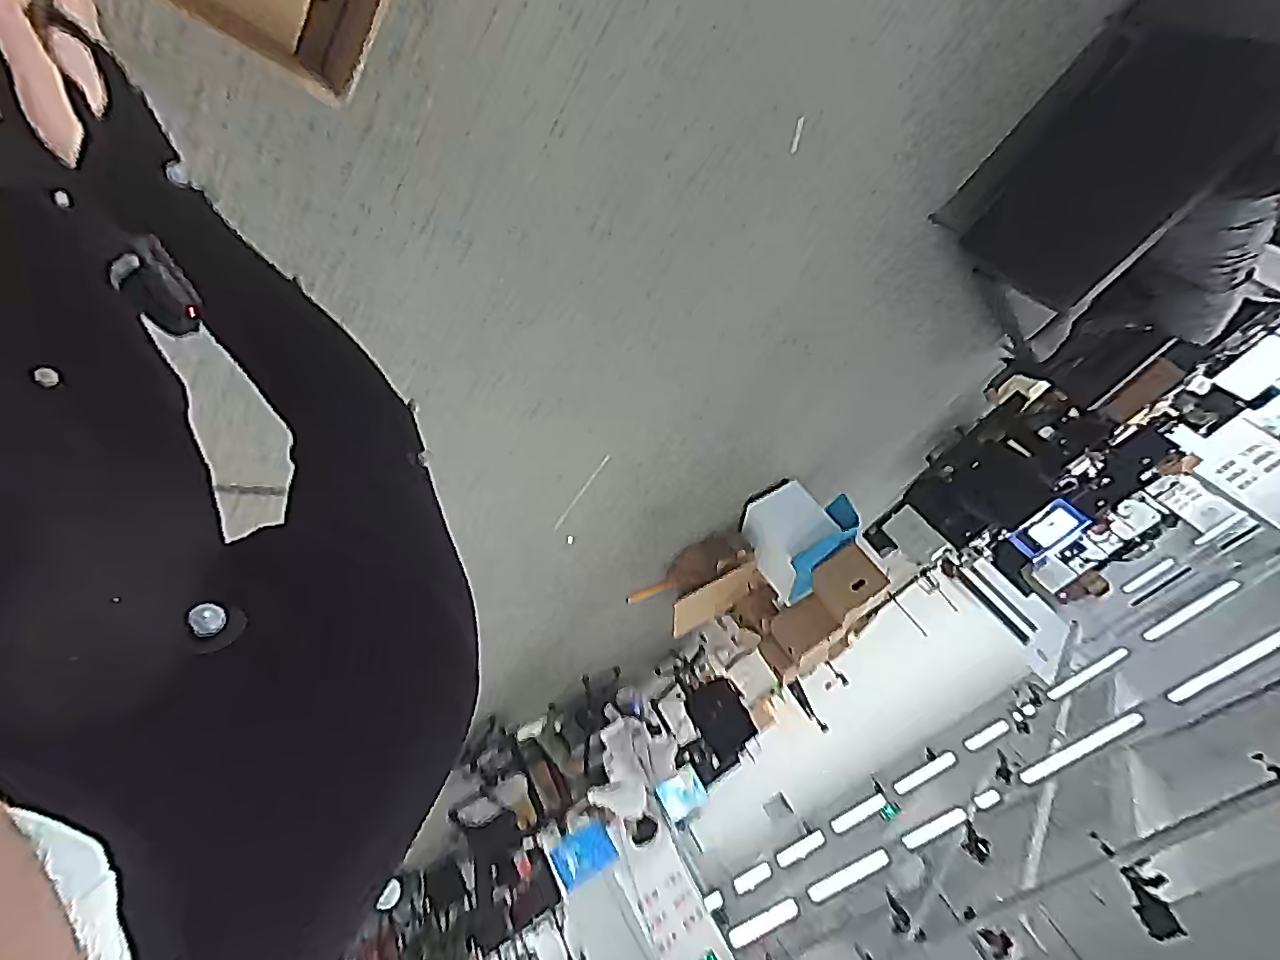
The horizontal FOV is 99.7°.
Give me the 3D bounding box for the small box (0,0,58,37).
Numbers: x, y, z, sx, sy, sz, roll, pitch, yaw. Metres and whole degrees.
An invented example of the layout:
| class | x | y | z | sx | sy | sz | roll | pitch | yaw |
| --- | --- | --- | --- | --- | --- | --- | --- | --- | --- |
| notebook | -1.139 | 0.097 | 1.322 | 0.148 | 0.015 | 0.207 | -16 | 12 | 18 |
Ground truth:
| class | x | y | z | sx | sy | sz | roll | pitch | yaw |
| --- | --- | --- | --- | --- | --- | --- | --- | --- | --- |
| small box | -0.498 | -0.408 | 0.331 | 0.179 | 0.176 | 0.168 | -10 | 120 | -43 |
